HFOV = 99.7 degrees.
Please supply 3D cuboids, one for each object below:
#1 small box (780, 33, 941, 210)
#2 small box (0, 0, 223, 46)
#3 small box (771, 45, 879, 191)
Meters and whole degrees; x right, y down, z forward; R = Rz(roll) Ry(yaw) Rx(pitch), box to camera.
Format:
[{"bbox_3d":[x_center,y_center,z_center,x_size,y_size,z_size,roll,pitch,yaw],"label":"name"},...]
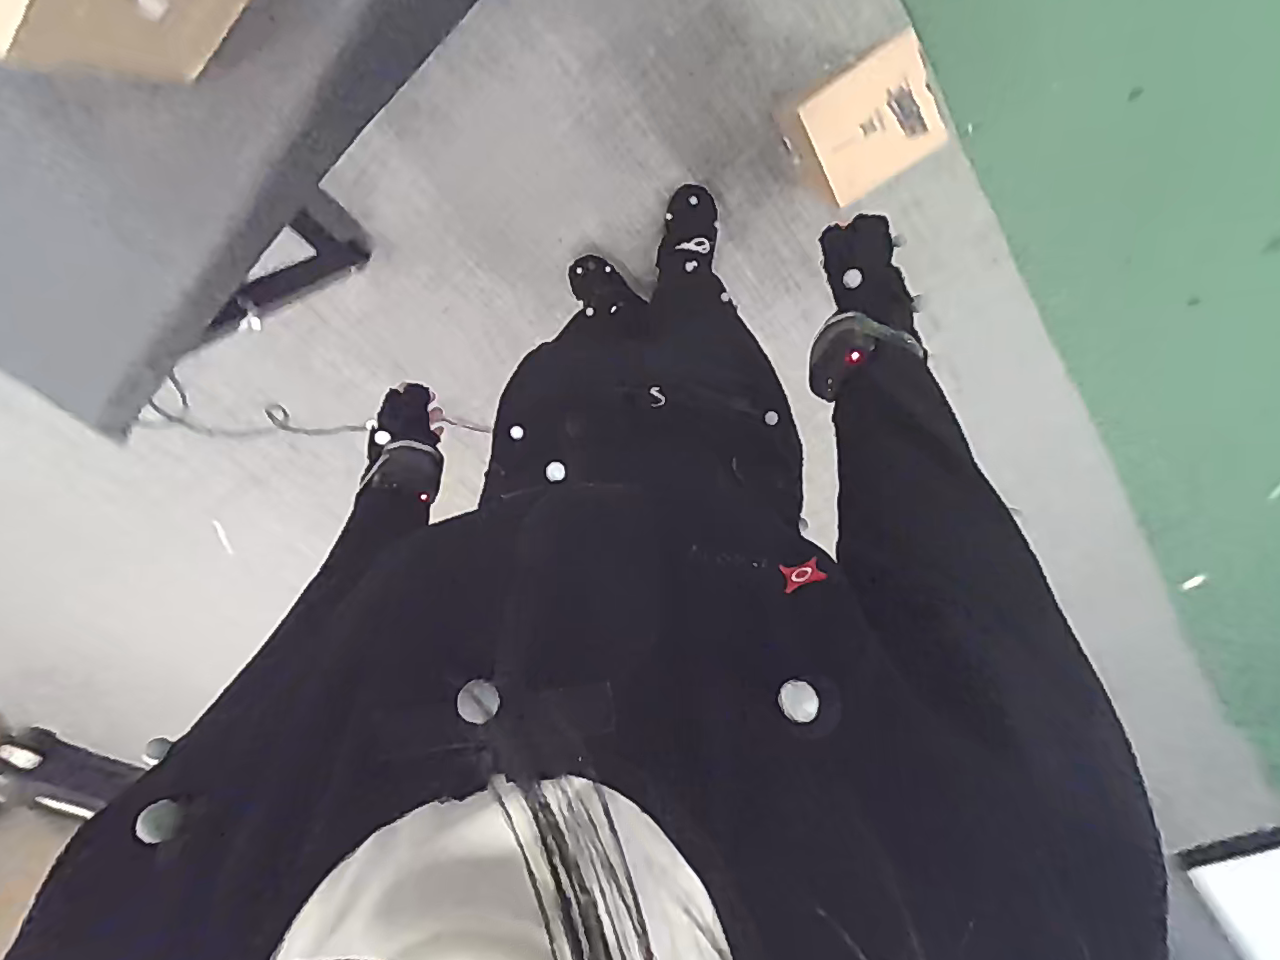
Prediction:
[{"bbox_3d":[0.351,-0.577,0.884,0.179,0.176,0.168,-26,117,19],"label":"small box"},{"bbox_3d":[-0.374,-0.420,0.339,0.179,0.176,0.168,-30,117,21],"label":"small box"},{"bbox_3d":[0.367,-0.671,1.019,0.179,0.176,0.168,-26,118,19],"label":"small box"}]
